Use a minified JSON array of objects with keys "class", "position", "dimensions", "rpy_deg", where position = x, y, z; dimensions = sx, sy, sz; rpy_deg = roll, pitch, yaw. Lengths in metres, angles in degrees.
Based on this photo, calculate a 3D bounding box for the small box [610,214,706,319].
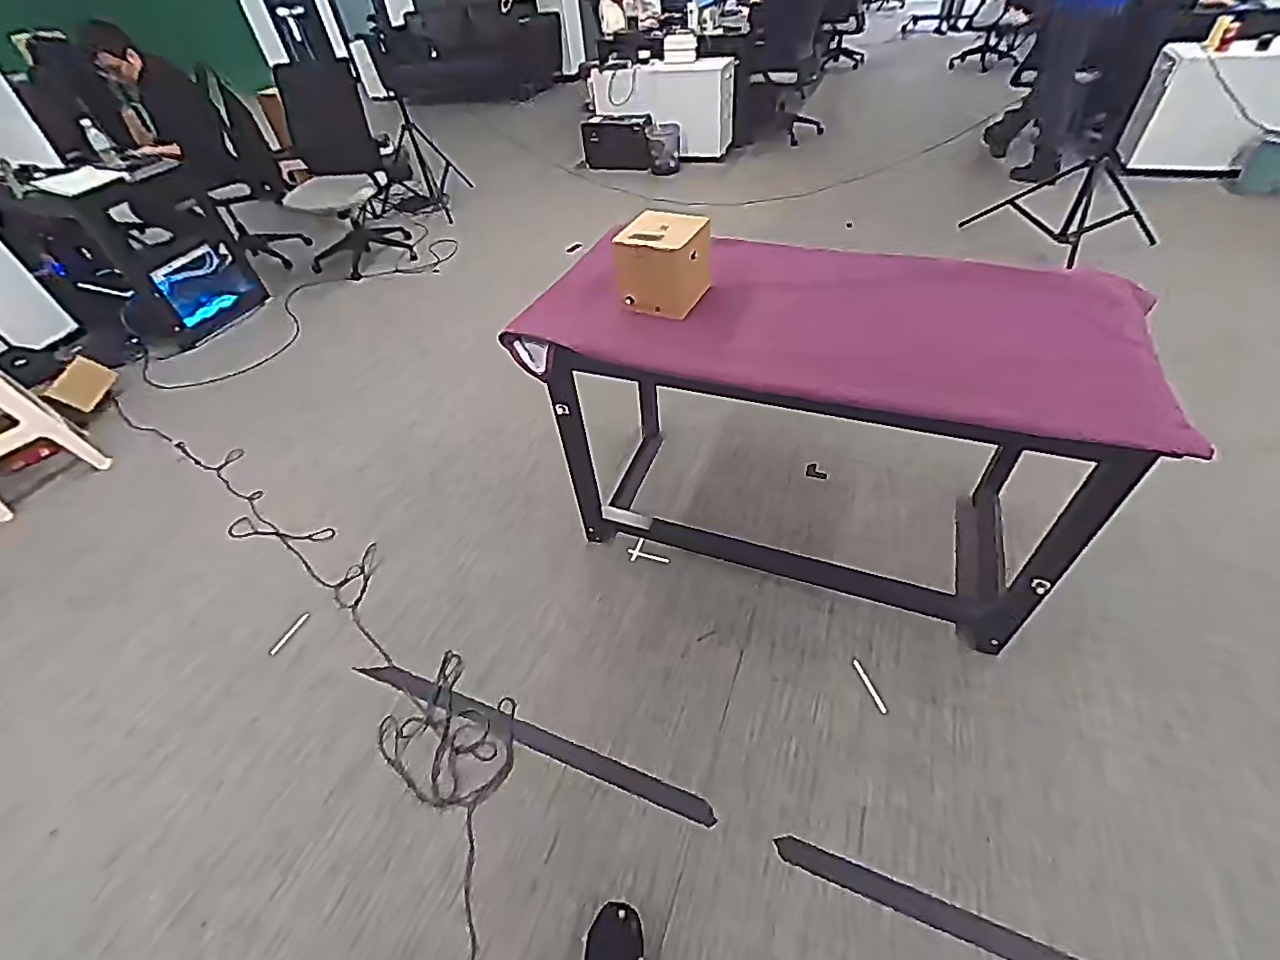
[{"class":"small box","position":[0.050,-0.499,1.267],"dimensions":[0.168,0.176,0.179],"rpy_deg":[18,51,21]}]
